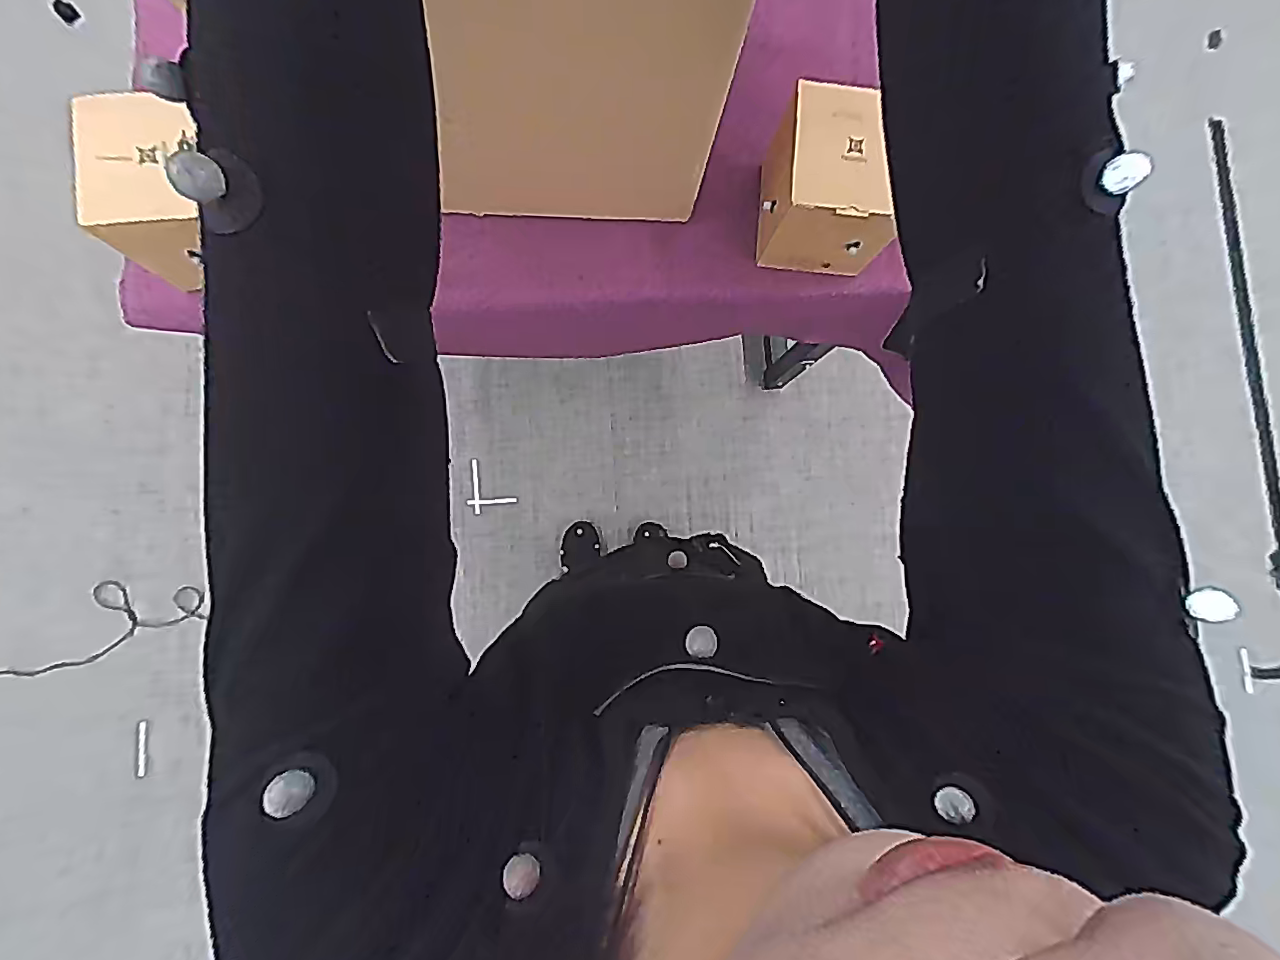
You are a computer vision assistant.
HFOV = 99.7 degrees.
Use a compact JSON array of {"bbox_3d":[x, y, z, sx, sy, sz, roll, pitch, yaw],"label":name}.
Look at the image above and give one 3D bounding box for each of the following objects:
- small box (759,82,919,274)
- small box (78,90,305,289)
[{"bbox_3d":[0.277,-0.422,0.783,0.168,0.176,0.179,5,83,-4],"label":"small box"},{"bbox_3d":[-0.569,-0.370,0.713,0.179,0.176,0.168,-7,84,-6],"label":"small box"}]
